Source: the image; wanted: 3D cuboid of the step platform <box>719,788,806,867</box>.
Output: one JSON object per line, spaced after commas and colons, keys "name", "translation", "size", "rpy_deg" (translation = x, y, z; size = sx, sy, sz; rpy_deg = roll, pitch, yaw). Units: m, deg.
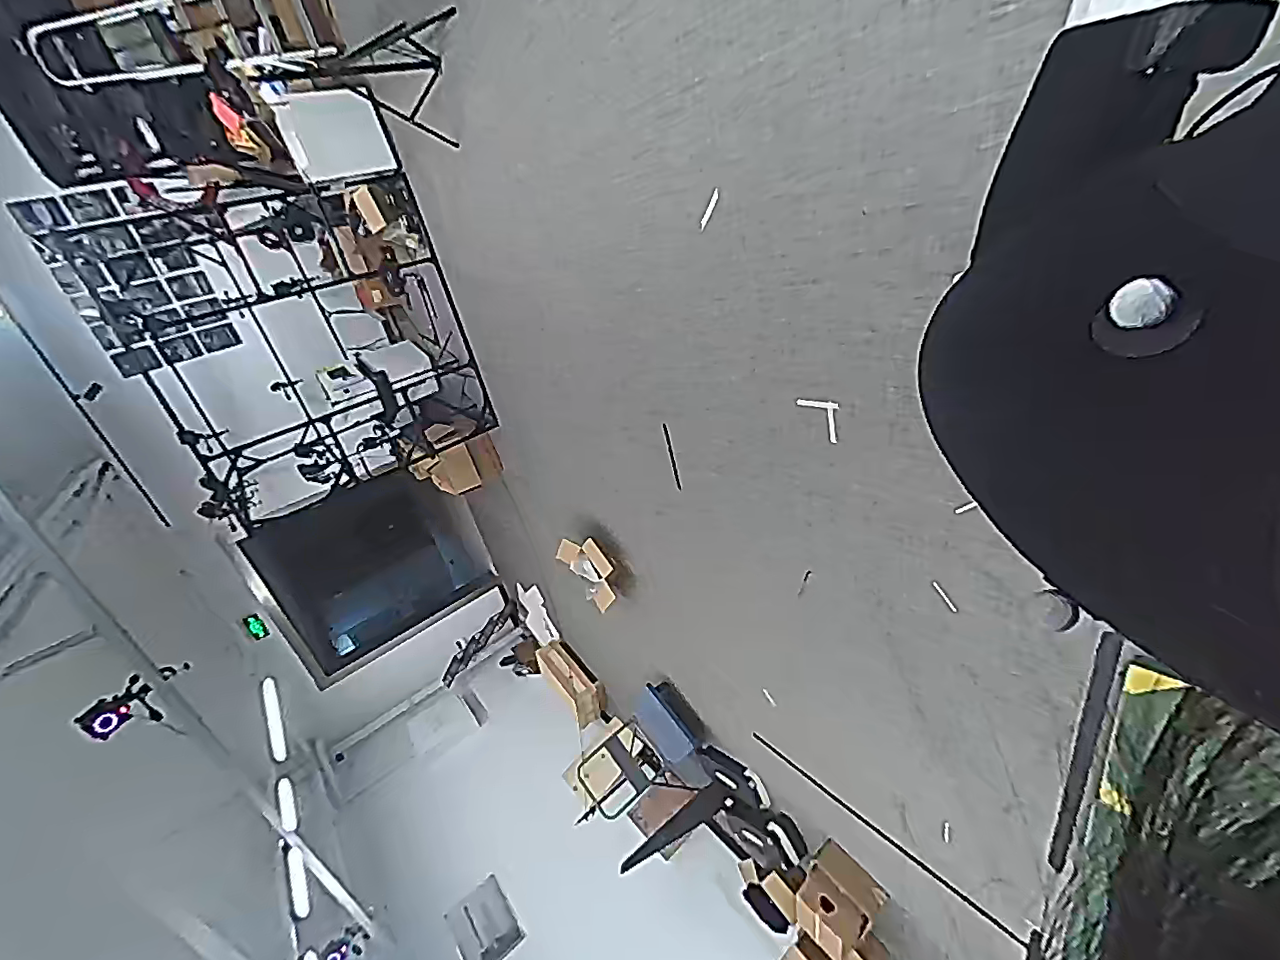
{"name": "step platform", "translation": [0.861, 2.503, 3.910], "size": [0.286, 0.204, 0.684], "rpy_deg": [61, 151, -1]}
